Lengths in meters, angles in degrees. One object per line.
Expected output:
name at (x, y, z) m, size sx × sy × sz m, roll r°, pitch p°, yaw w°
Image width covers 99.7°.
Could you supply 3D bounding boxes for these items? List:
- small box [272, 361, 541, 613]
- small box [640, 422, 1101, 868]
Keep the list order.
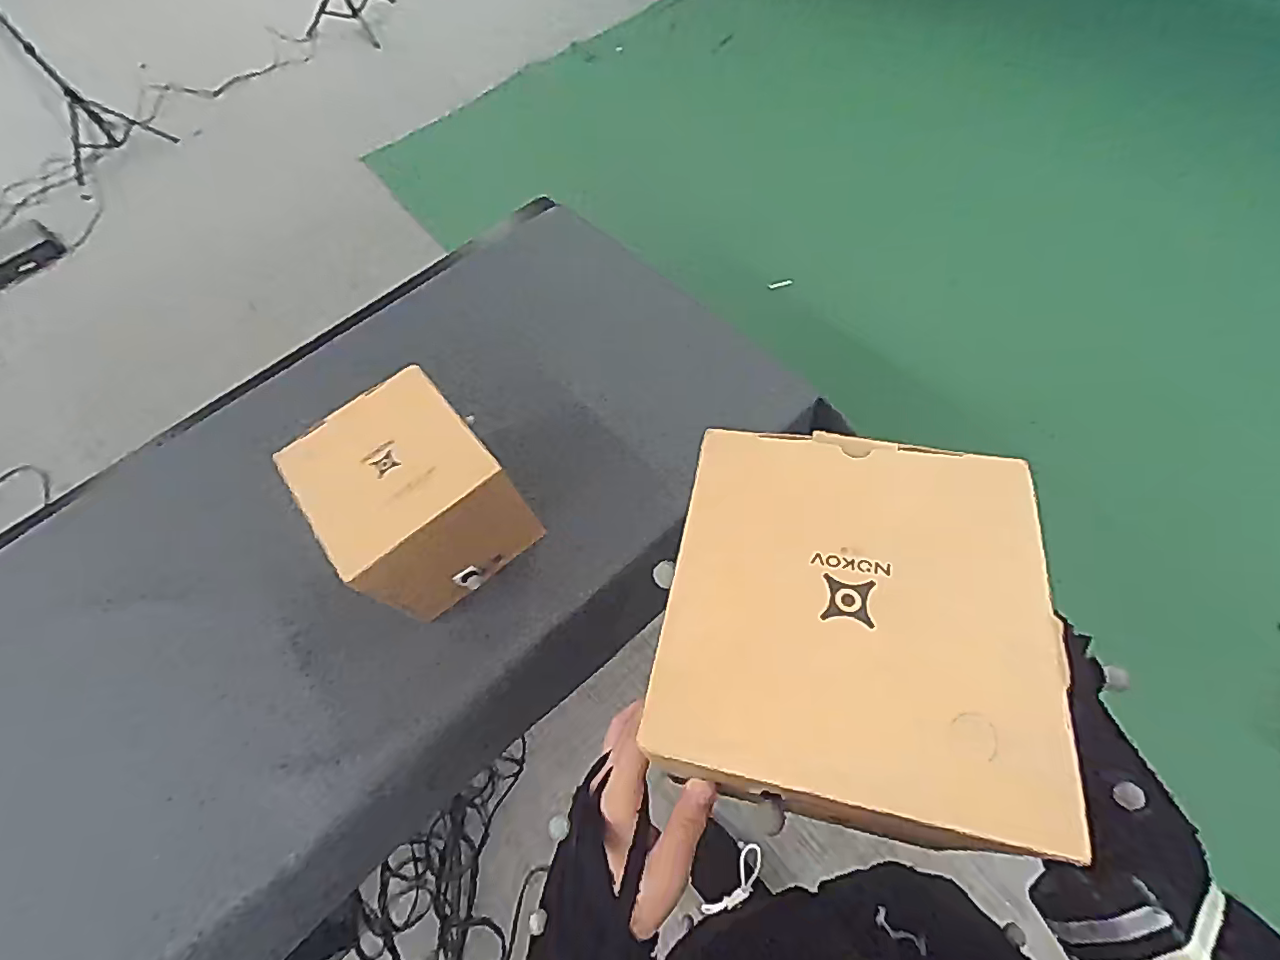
small box at (-0.234, 0.015, 0.579) m, size 0.168 × 0.176 × 0.179 m, roll -39°, pitch 66°, yaw -12°
small box at (0.110, 0.092, 0.308) m, size 0.168 × 0.176 × 0.179 m, roll 7°, pitch 58°, yaw 15°
